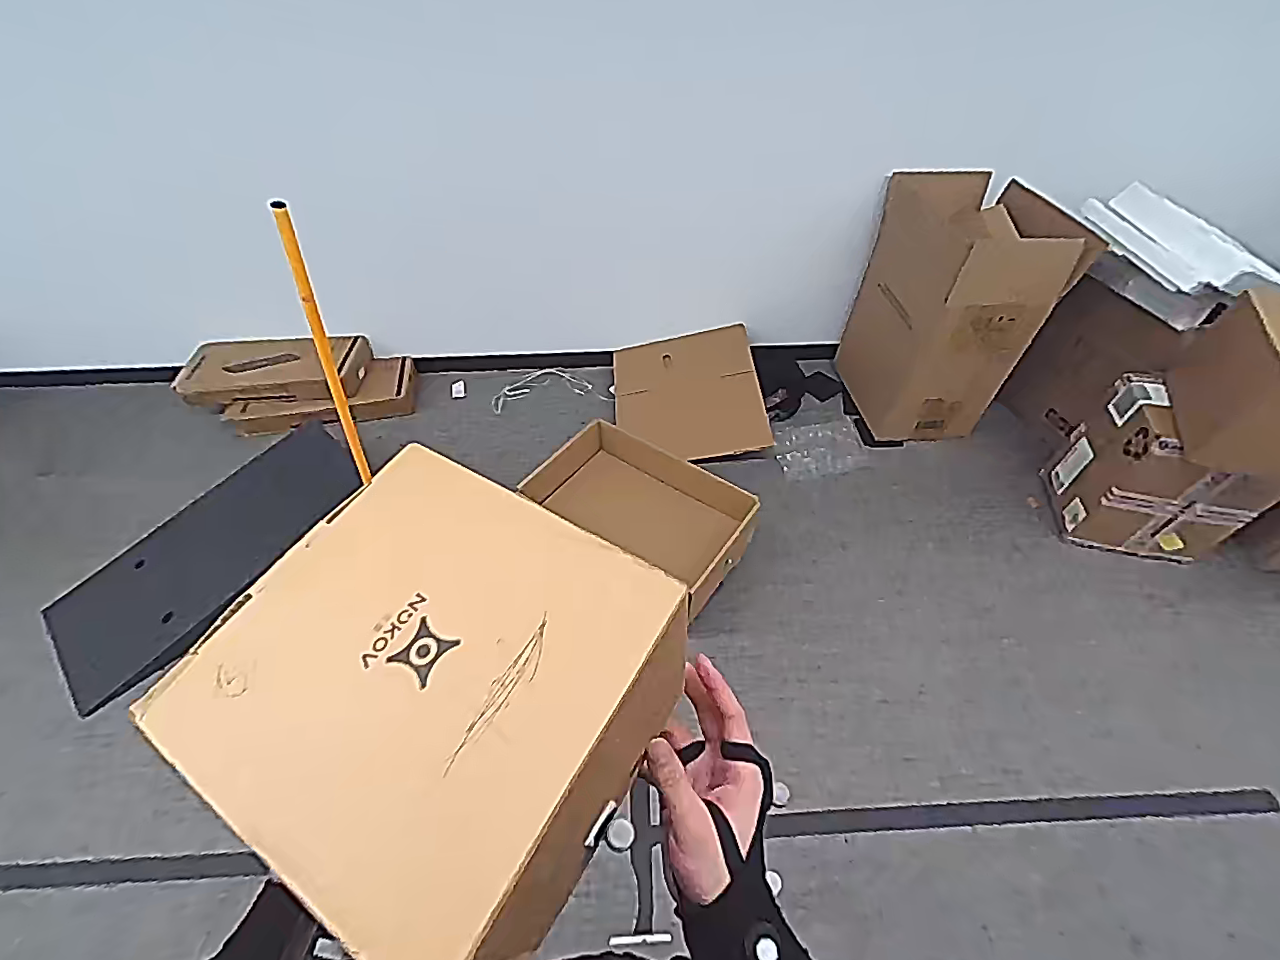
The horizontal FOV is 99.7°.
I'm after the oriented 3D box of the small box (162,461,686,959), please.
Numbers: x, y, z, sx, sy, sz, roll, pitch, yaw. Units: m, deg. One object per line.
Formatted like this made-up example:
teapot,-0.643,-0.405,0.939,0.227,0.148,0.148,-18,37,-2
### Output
small box,-0.089,0.125,0.306,0.179,0.176,0.168,25,59,20
